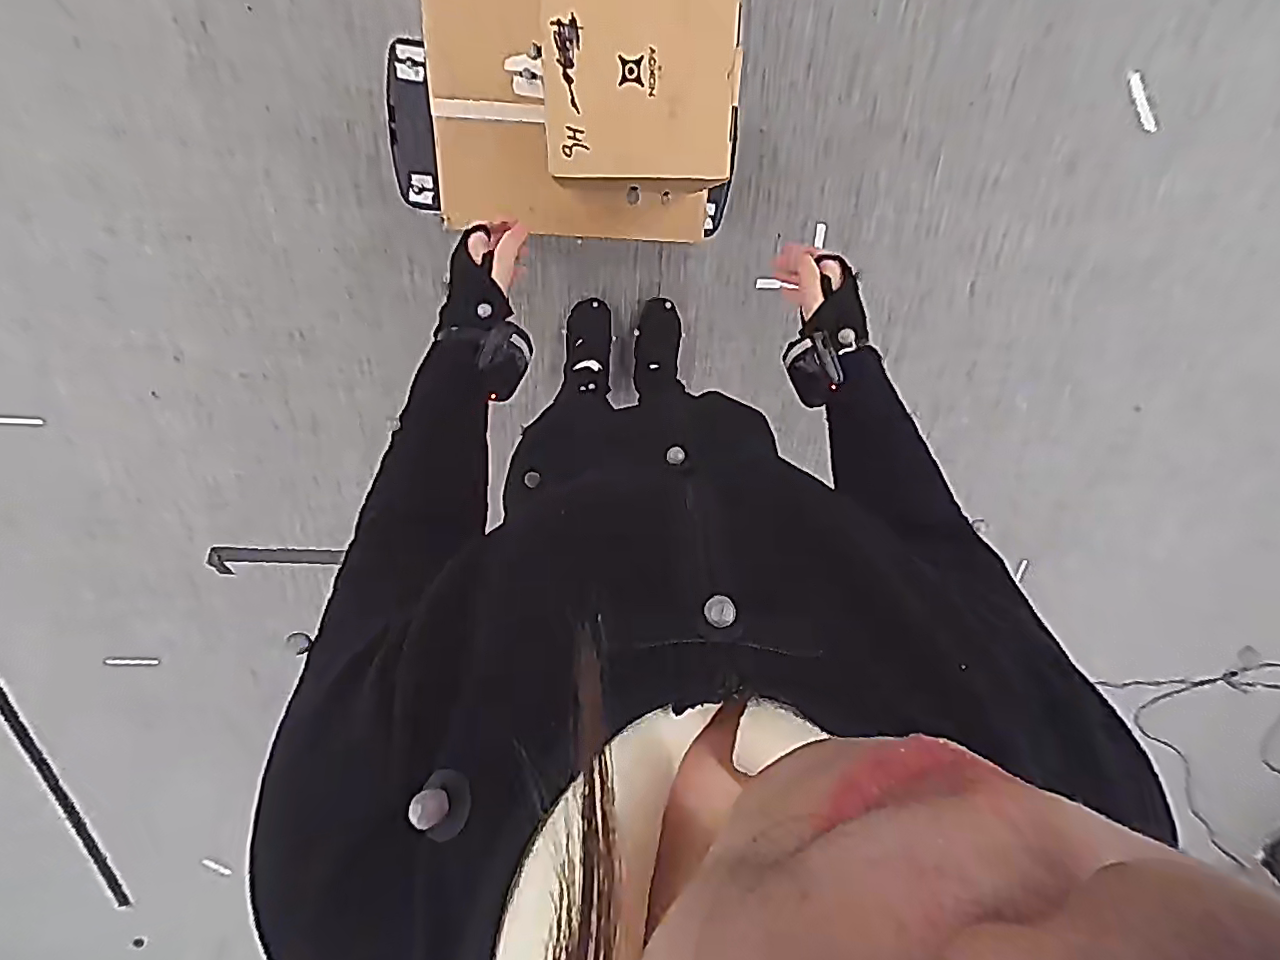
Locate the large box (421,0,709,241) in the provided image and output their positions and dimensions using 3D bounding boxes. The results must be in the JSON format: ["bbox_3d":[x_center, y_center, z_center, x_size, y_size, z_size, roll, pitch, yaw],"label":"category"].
[{"bbox_3d":[-0.098,-0.580,0.903,0.408,0.320,0.320,2,114,-4],"label":"large box"}]

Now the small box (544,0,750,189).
[{"bbox_3d":[-0.002,-0.394,0.544,0.179,0.176,0.168,-1,114,-5],"label":"small box"}]
